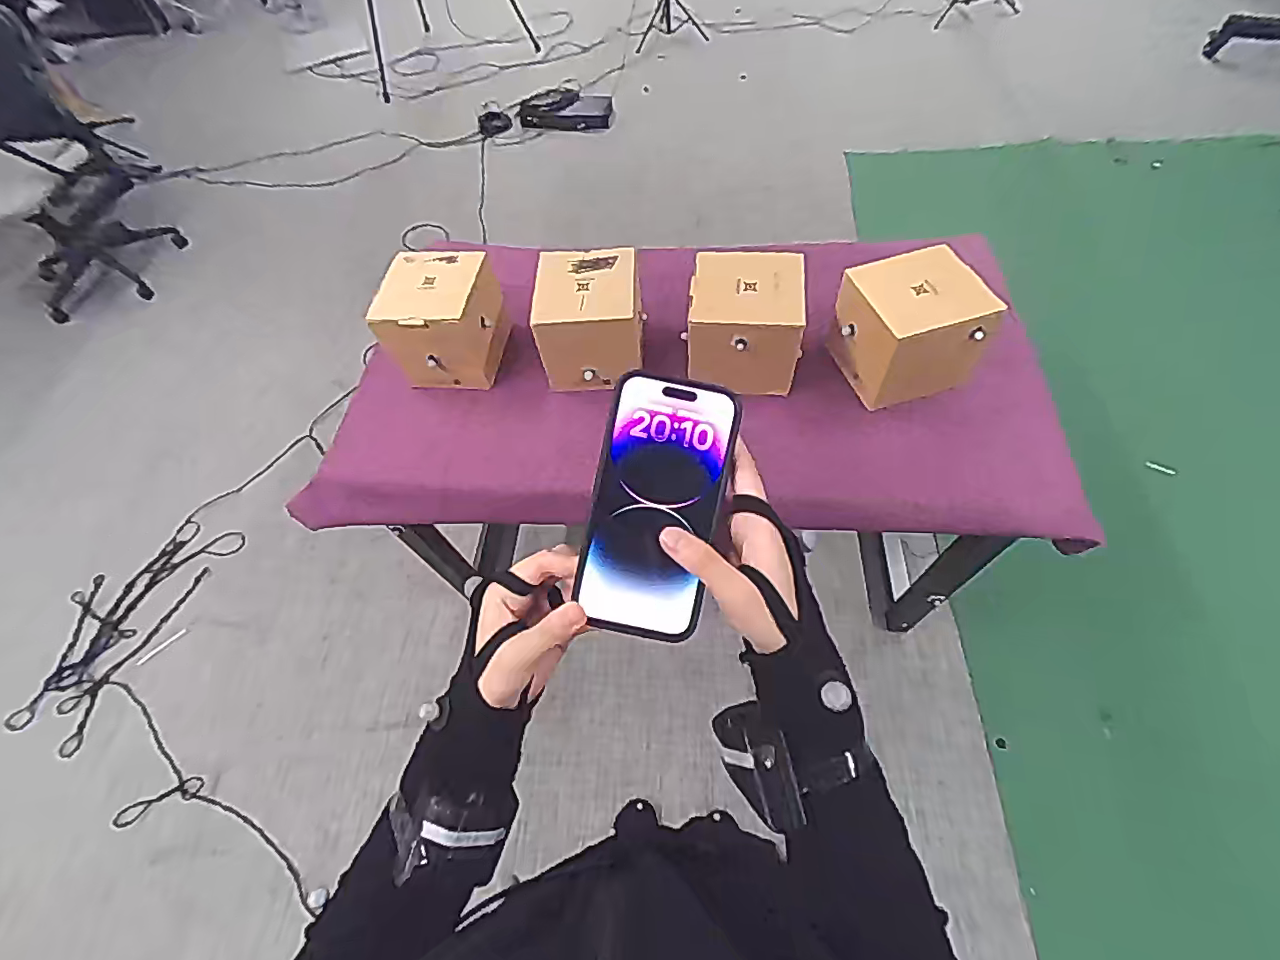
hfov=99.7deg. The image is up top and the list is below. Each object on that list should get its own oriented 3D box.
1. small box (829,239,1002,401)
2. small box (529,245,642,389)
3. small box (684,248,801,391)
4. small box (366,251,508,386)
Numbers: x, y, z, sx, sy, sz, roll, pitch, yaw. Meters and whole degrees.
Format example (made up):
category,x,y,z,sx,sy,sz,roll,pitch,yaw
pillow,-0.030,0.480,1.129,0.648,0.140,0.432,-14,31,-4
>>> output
category,x,y,z,sx,sy,sz,roll,pitch,yaw
small box,0.426,-0.254,0.880,0.179,0.176,0.168,-16,58,-5
small box,-0.086,-0.282,0.950,0.168,0.176,0.179,-2,59,5
small box,0.171,-0.267,0.916,0.179,0.176,0.168,4,60,8
small box,-0.353,-0.288,0.981,0.168,0.176,0.179,2,60,7
